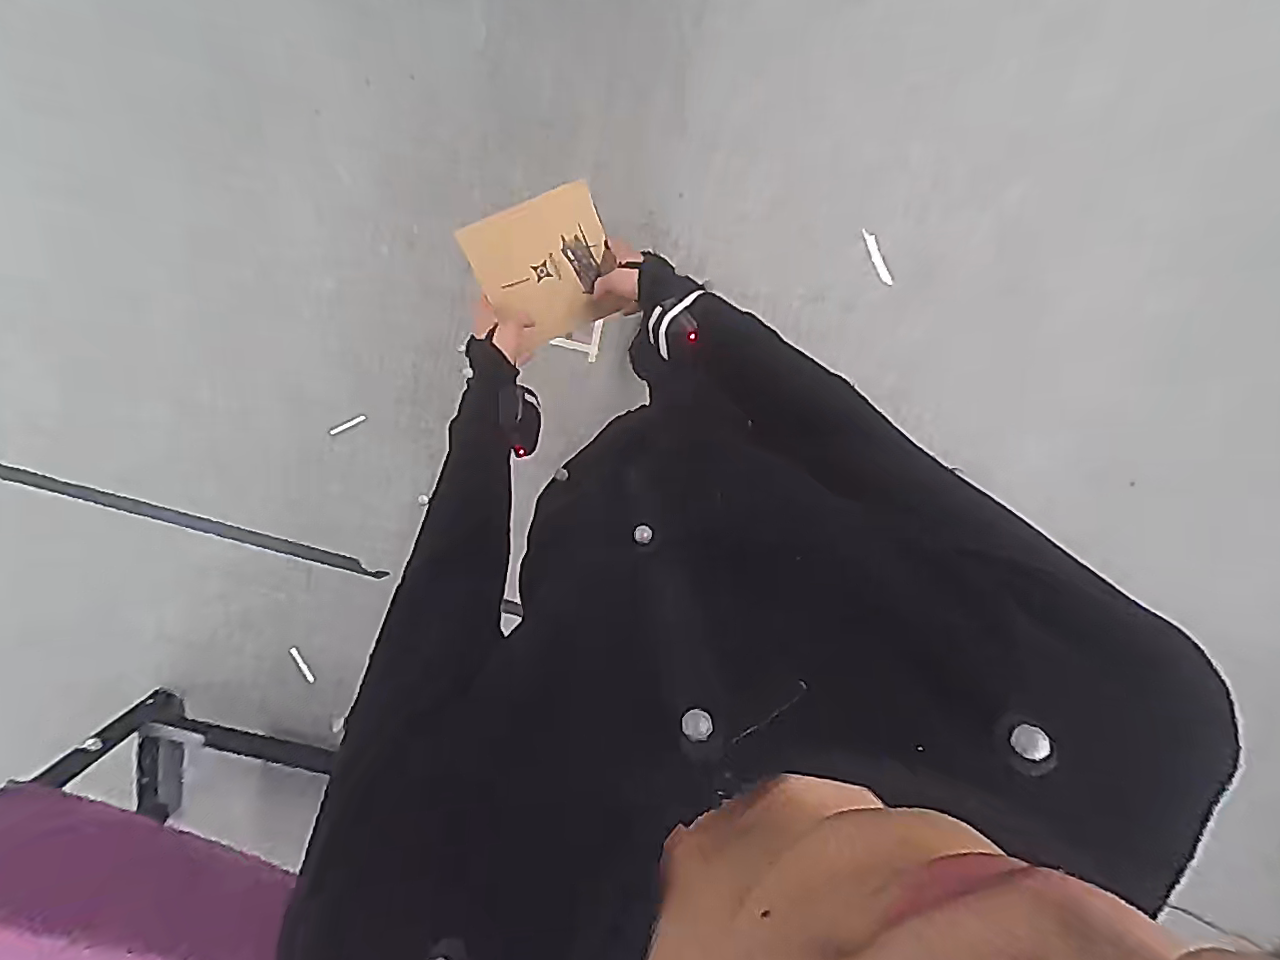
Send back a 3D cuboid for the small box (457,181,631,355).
[{"bbox_3d":[-0.132,-0.295,0.764,0.179,0.176,0.168,-24,113,-1],"label":"small box"}]
